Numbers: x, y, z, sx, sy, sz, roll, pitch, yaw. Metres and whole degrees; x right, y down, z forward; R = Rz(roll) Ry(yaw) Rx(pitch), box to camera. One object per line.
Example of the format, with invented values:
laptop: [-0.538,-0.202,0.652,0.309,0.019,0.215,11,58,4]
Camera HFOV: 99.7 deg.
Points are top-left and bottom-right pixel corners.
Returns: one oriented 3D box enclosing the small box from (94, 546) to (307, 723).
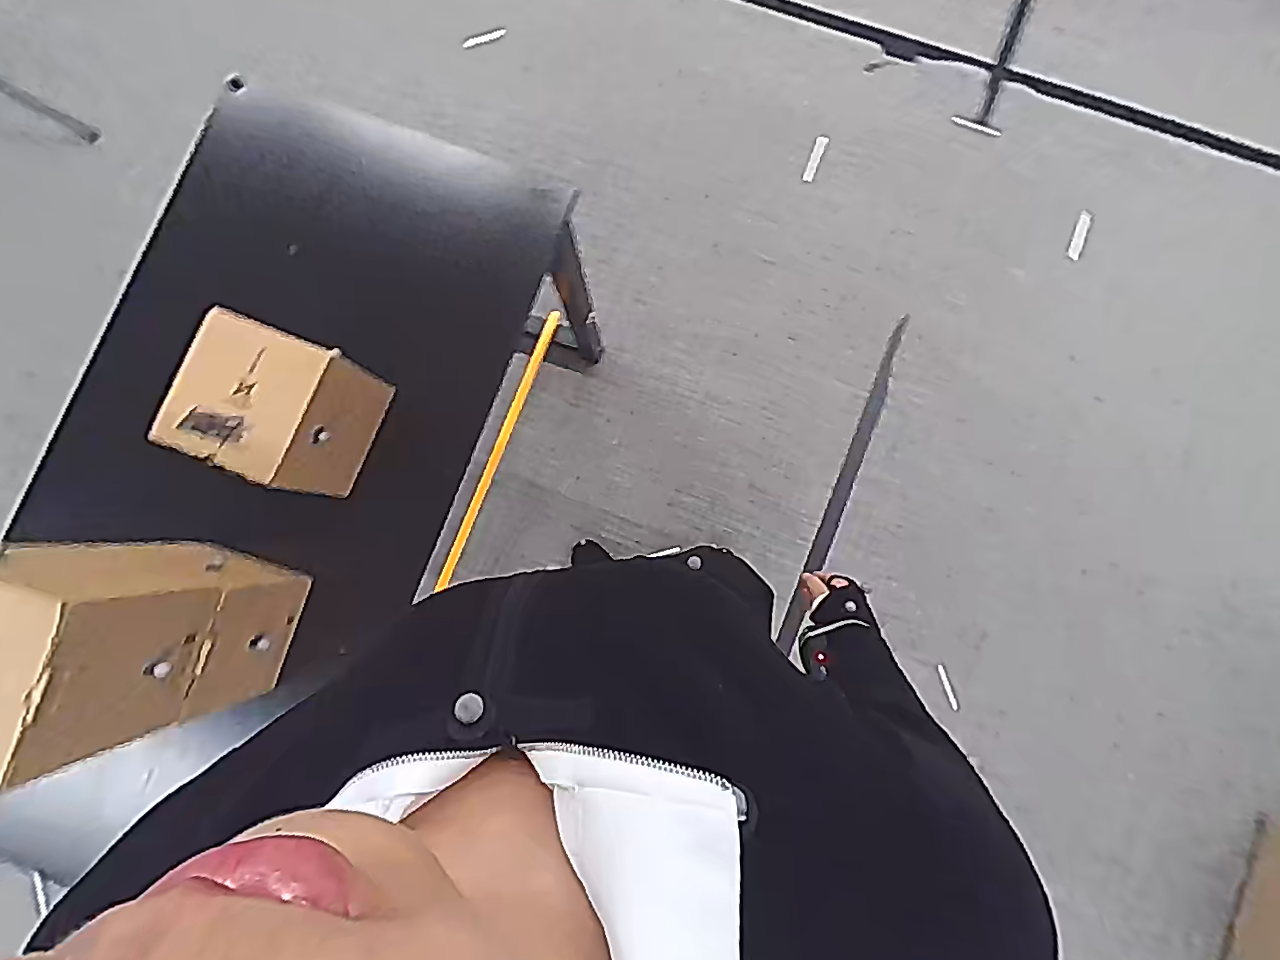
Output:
small box: [-0.582,0.185,0.706,0.179,0.176,0.168,16,85,3]

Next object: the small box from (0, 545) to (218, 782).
small box: [-0.589,0.165,0.541,0.179,0.176,0.168,15,85,3]

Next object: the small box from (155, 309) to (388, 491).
small box: [-0.479,-0.095,0.734,0.168,0.176,0.179,21,84,3]
